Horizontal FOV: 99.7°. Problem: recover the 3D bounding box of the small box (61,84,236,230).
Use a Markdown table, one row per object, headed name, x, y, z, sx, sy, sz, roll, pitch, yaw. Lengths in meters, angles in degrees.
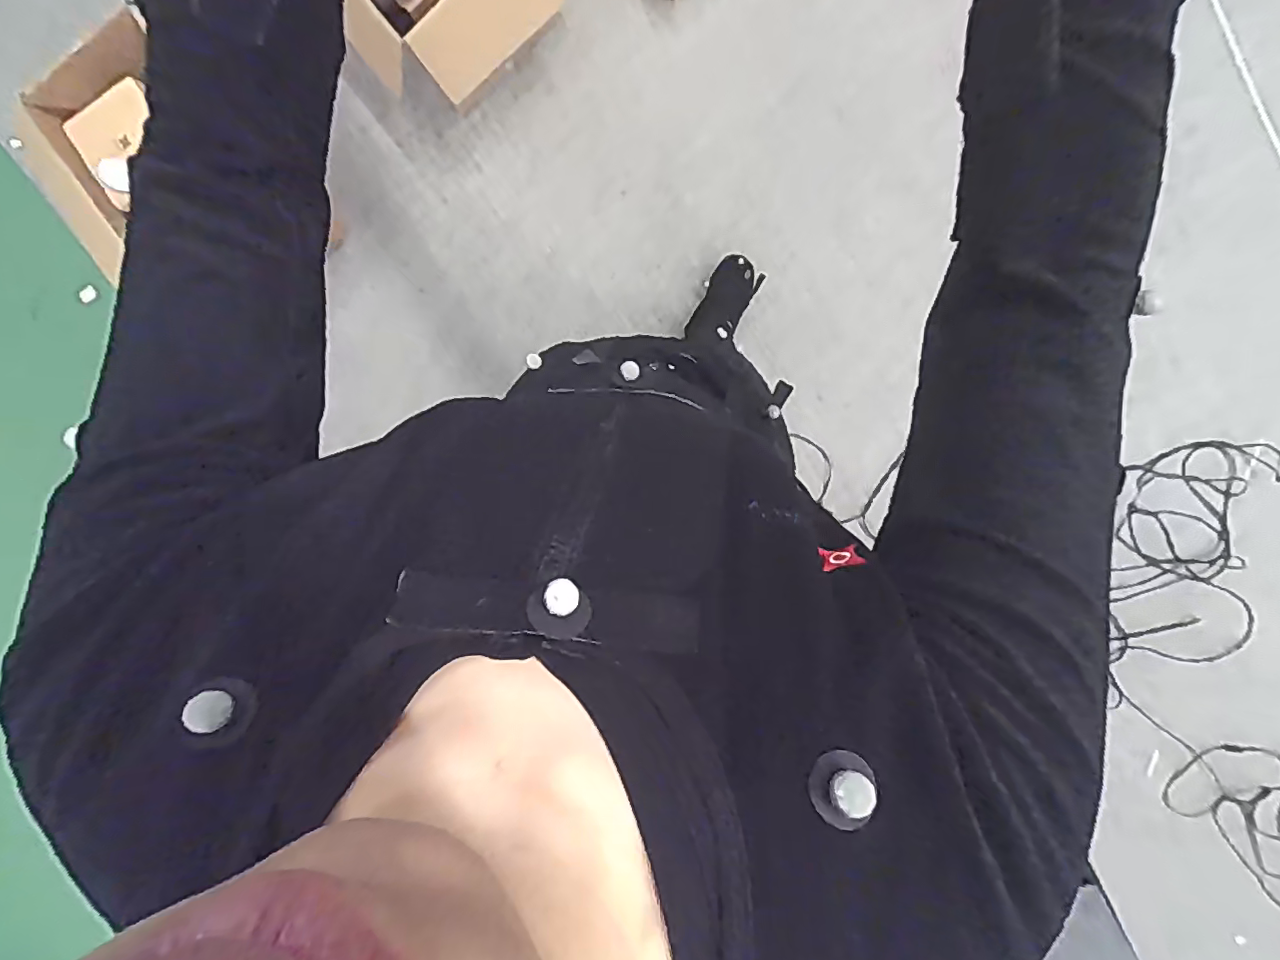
| name | x | y | z | sx | sy | sz | roll | pitch | yaw |
| --- | --- | --- | --- | --- | --- | --- | --- | --- | --- |
| small box | -0.977 | -0.643 | 1.100 | 0.179 | 0.176 | 0.168 | -29 | 99 | 7 |
